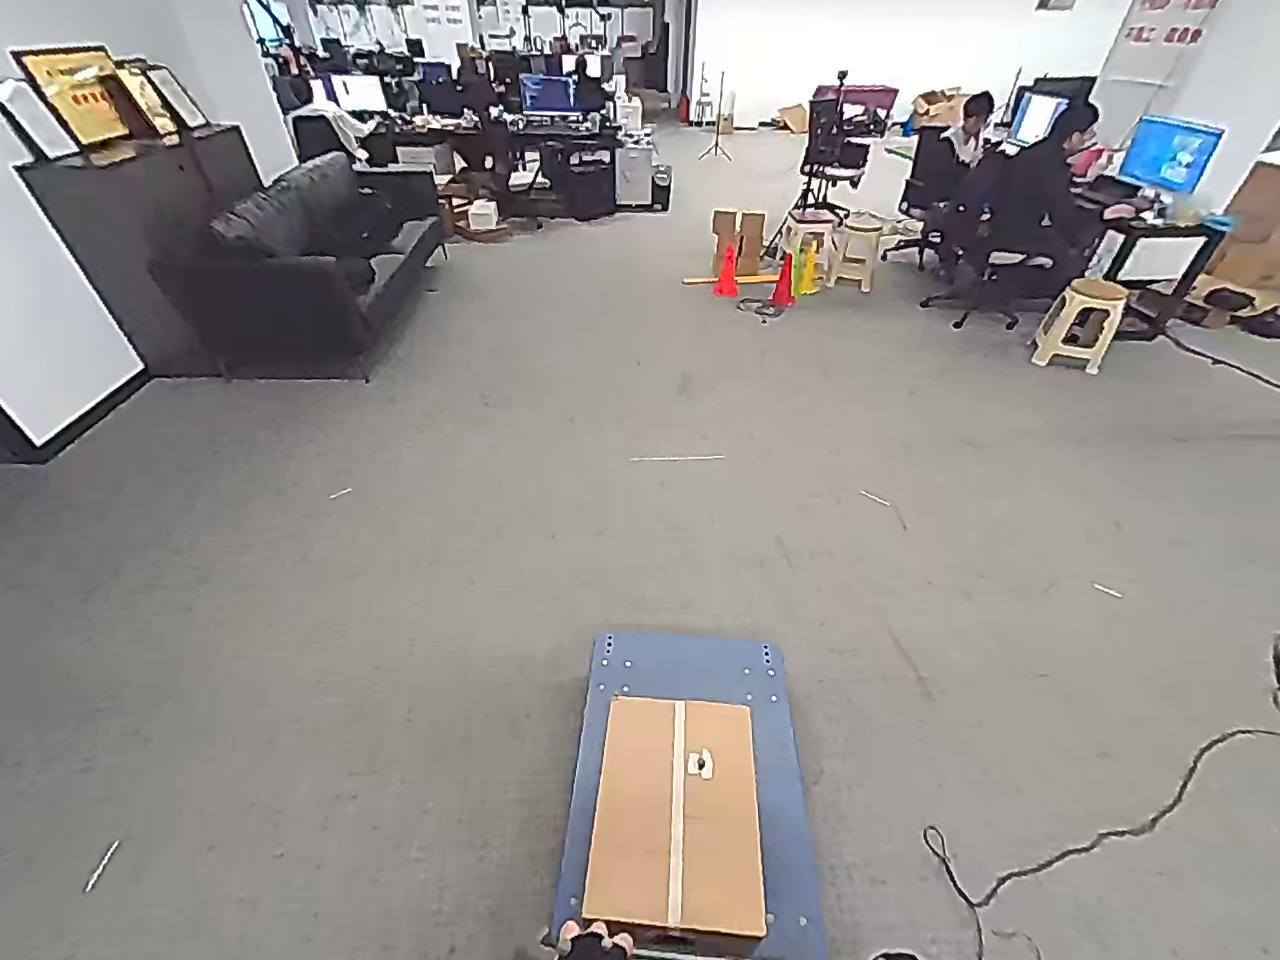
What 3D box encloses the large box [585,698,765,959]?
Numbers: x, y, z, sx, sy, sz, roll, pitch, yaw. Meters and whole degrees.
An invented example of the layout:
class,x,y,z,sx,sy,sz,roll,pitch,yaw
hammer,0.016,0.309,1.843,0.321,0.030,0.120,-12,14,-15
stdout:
class,x,y,z,sx,sy,sz,roll,pitch,yaw
large box,0.071,0.740,1.155,0.320,0.320,0.408,3,38,3
